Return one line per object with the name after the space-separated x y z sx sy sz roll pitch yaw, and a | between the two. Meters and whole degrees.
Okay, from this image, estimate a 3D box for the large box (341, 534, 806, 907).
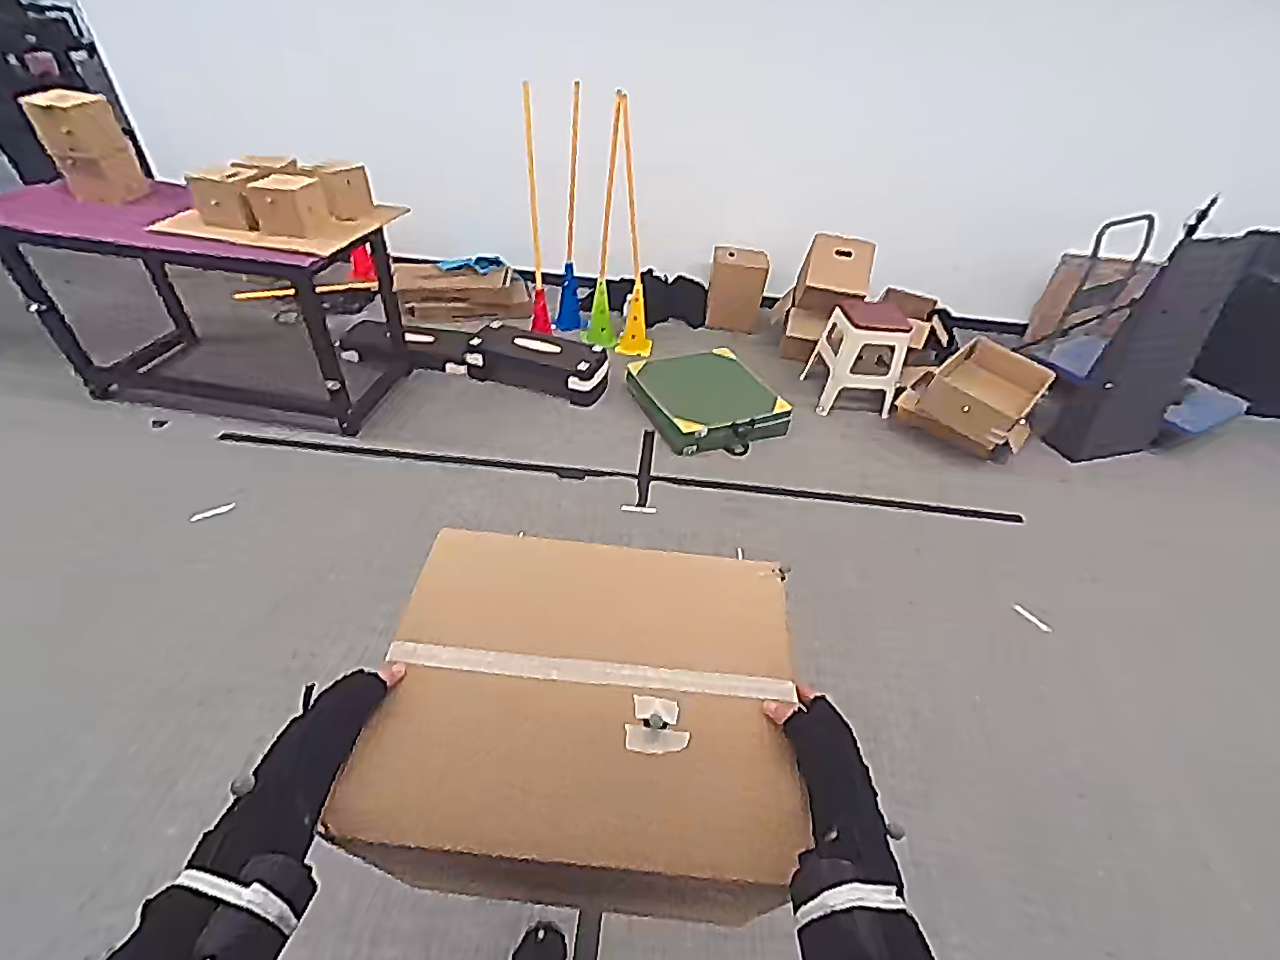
-0.058 0.295 0.661 0.408 0.320 0.320 7 48 0 | large box
